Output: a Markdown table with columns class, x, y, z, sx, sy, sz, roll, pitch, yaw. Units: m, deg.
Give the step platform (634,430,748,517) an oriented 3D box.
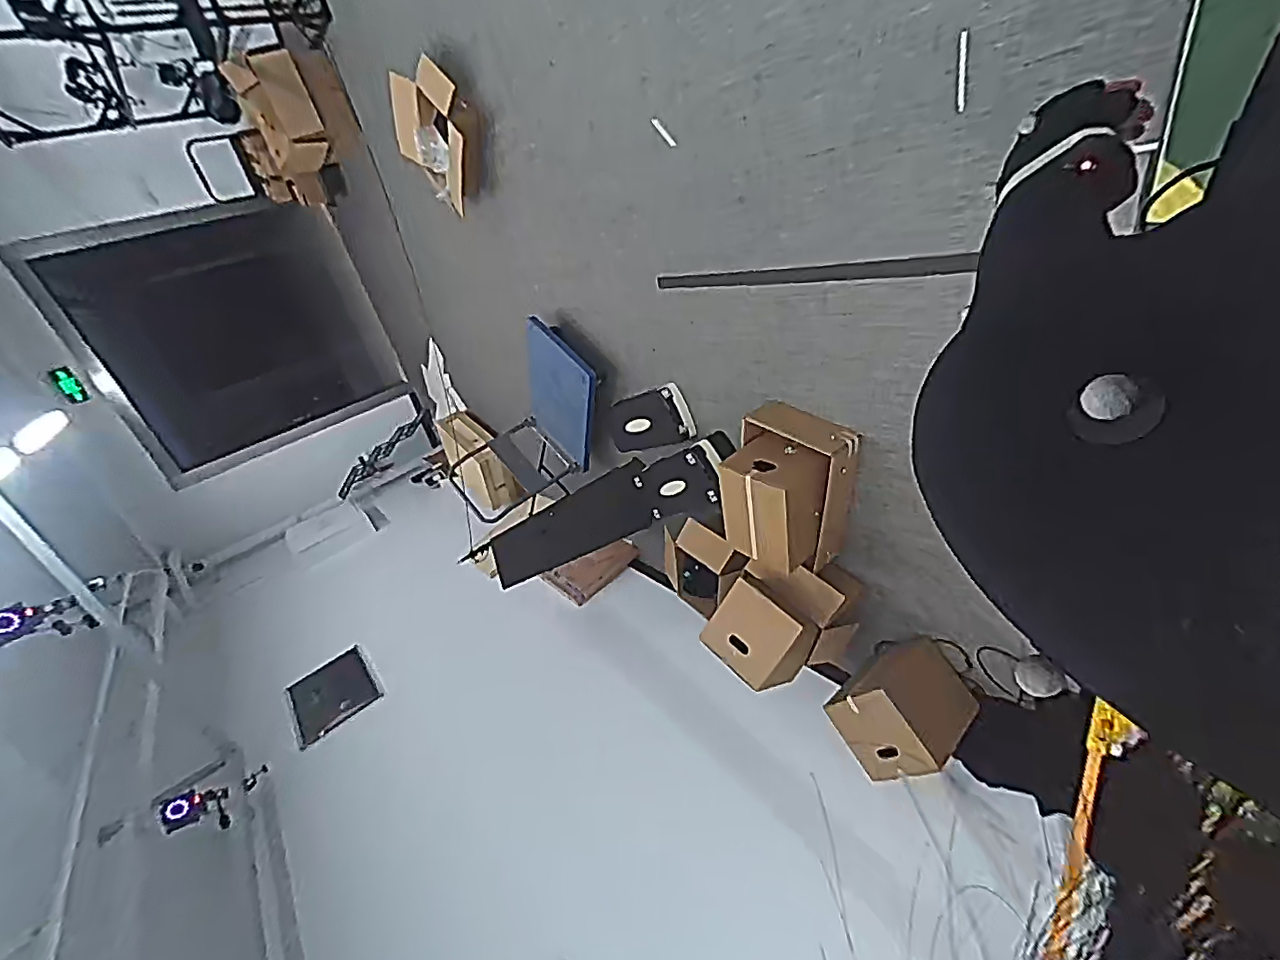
| class | x | y | z | sx | sy | sz | roll | pitch | yaw |
| --- | --- | --- | --- | --- | --- | --- | --- | --- | --- |
| step platform | 0.227 | -0.013 | 2.709 | 0.286 | 0.204 | 0.684 | 59 | 151 | -3 |
